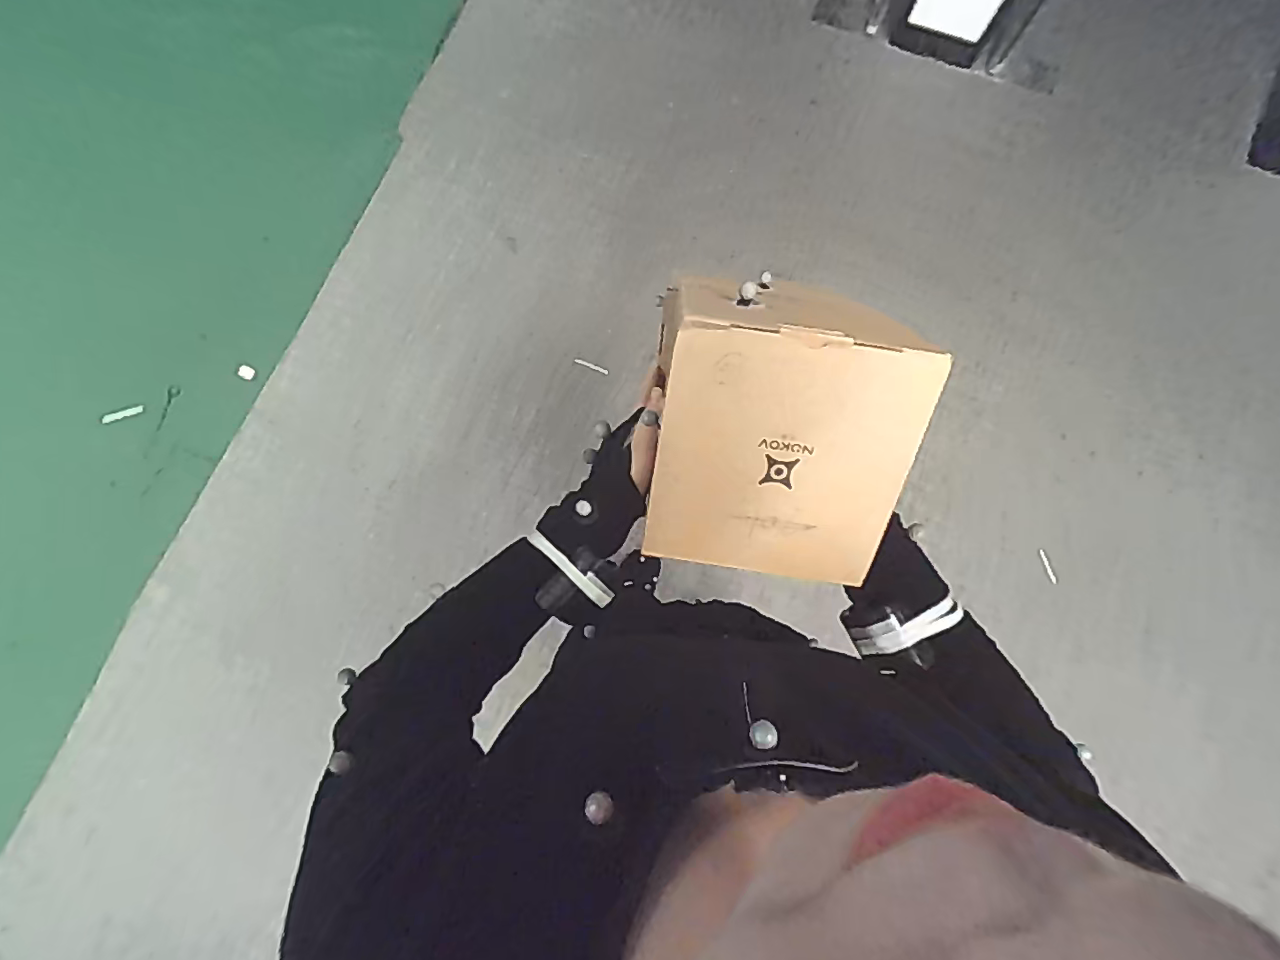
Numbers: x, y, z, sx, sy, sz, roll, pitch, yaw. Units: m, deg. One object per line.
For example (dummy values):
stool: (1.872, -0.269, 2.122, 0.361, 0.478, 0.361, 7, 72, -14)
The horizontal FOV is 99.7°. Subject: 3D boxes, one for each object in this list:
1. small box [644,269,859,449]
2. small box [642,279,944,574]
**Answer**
small box: (0.102, -0.127, 0.576, 0.179, 0.176, 0.168, 5, 117, 0)
small box: (0.096, -0.054, 0.430, 0.168, 0.176, 0.179, 8, 118, 0)
